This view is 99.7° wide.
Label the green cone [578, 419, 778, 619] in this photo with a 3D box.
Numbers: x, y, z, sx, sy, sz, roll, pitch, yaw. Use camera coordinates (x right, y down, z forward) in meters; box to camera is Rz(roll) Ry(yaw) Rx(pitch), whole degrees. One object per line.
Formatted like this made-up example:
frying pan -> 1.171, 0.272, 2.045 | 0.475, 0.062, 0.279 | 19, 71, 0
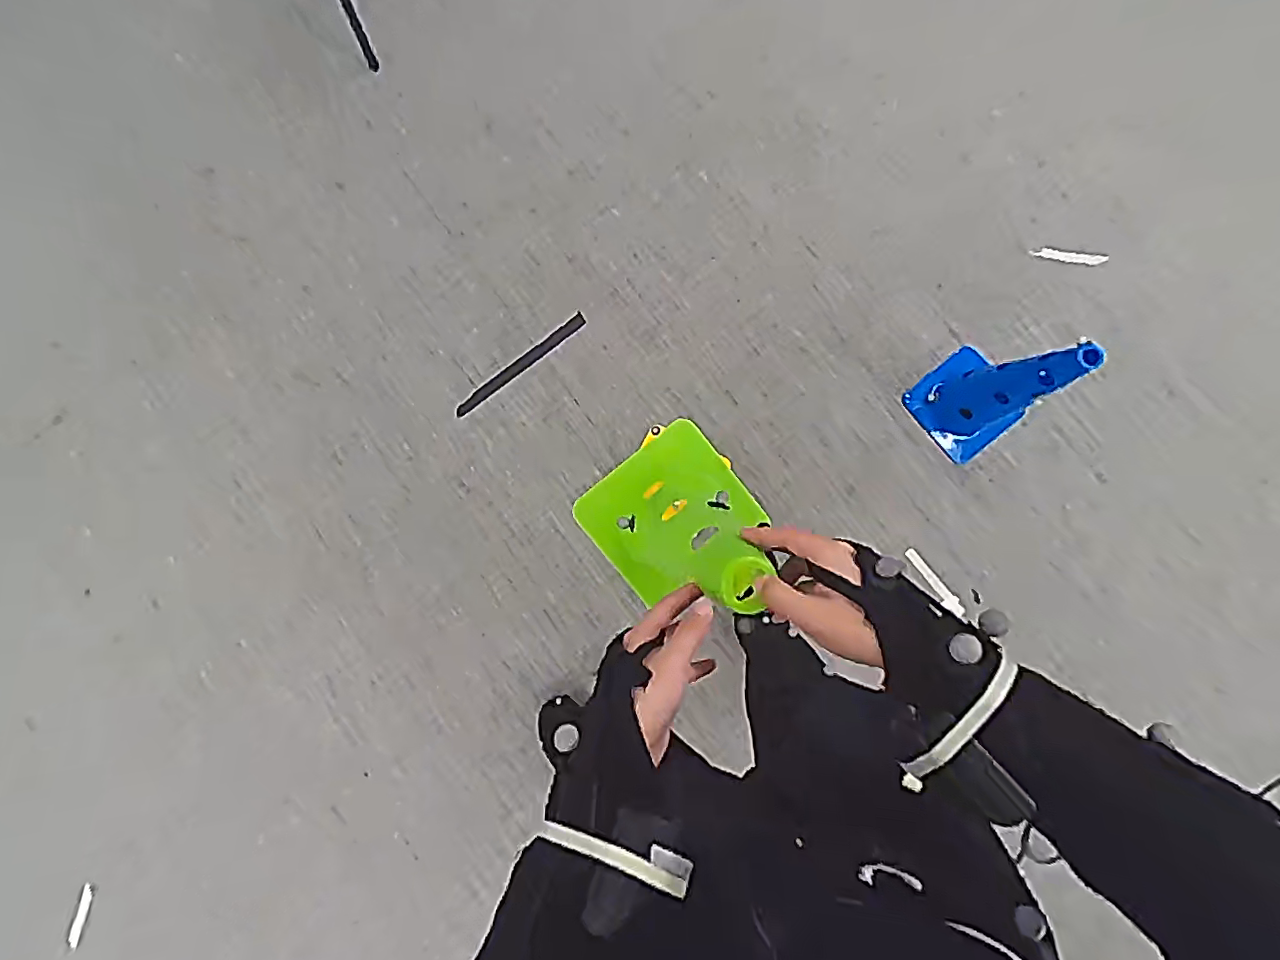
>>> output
green cone -> 0.061, 0.058, 0.536 | 0.202, 0.368, 0.200 | -41, 95, -1
